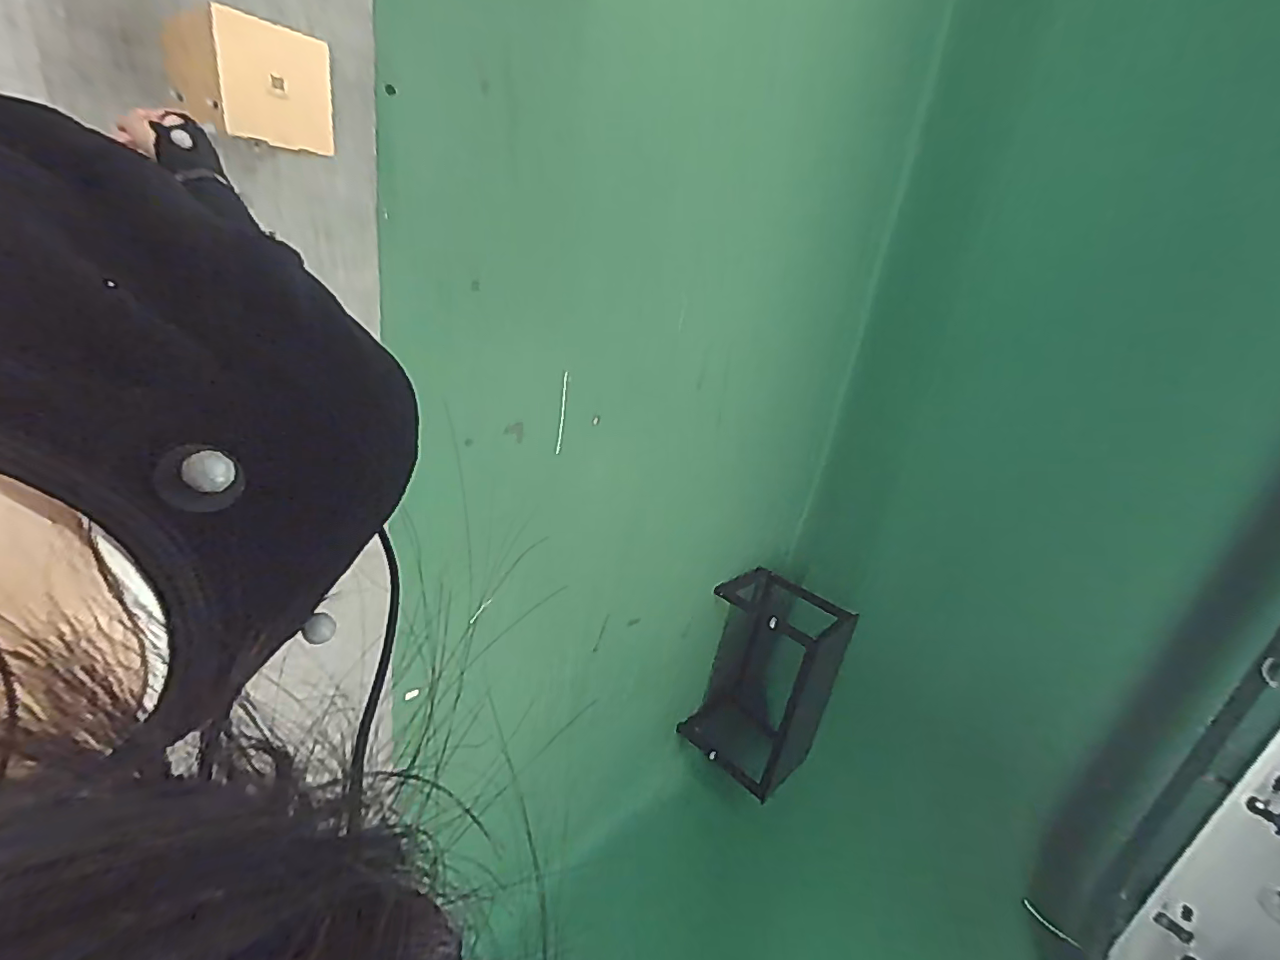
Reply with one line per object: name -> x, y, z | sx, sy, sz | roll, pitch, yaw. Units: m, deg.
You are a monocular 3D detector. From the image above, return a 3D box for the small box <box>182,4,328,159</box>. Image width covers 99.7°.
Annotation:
small box -> -0.669, -0.679, 0.944 | 0.168, 0.176, 0.179 | -15, 124, -45

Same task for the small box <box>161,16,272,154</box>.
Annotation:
small box -> -0.789, -0.738, 1.035 | 0.179, 0.176, 0.168 | -12, 120, -47
